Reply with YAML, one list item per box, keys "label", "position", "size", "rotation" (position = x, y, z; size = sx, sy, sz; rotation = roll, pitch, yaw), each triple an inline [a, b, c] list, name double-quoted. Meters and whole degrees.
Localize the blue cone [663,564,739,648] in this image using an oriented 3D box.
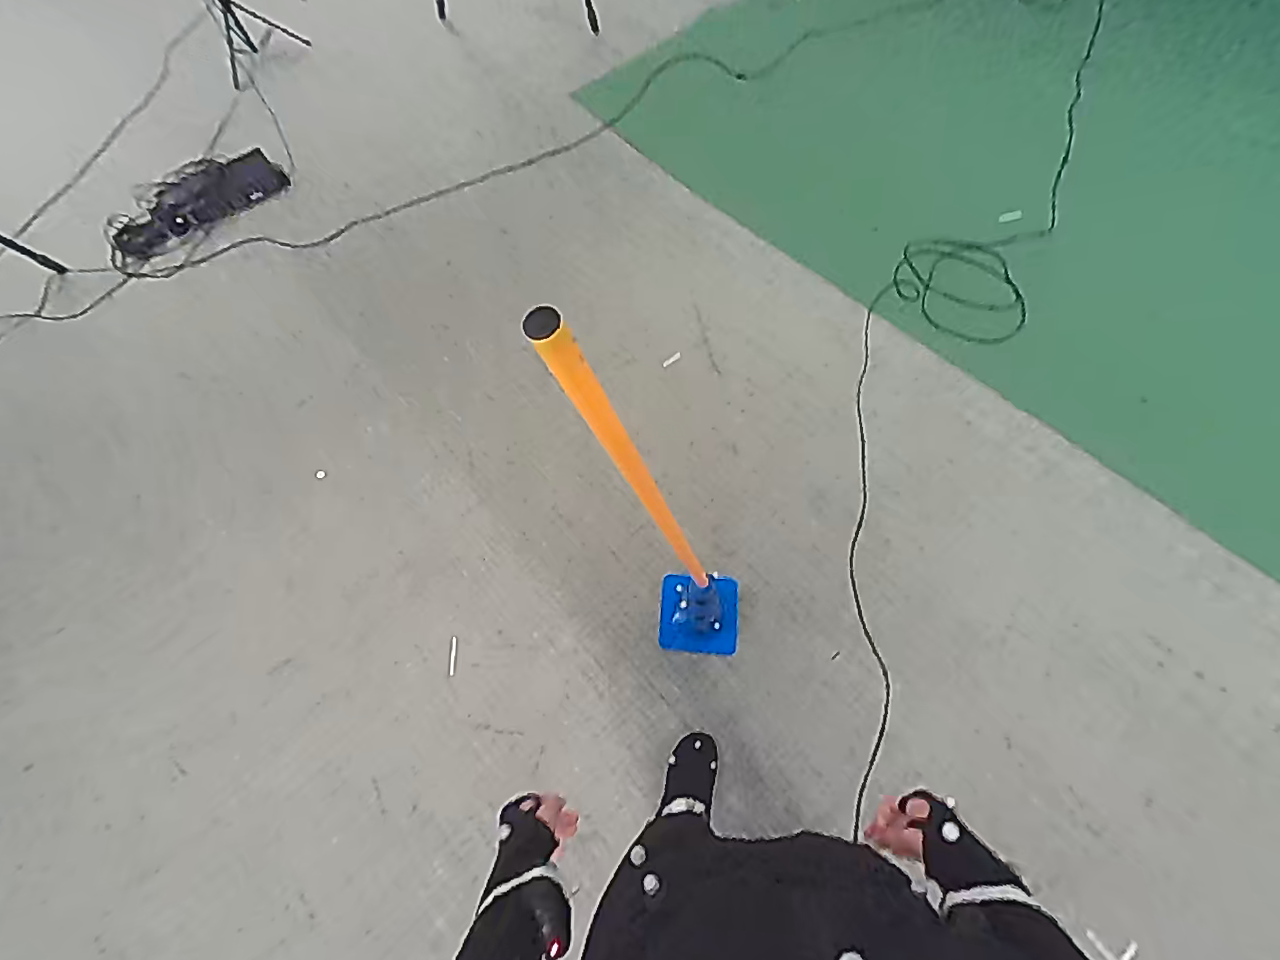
- label: "blue cone"
  position: [0.138, 0.265, 1.230]
  size: [0.193, 0.380, 0.192]
  rotation: [1, 67, 6]
